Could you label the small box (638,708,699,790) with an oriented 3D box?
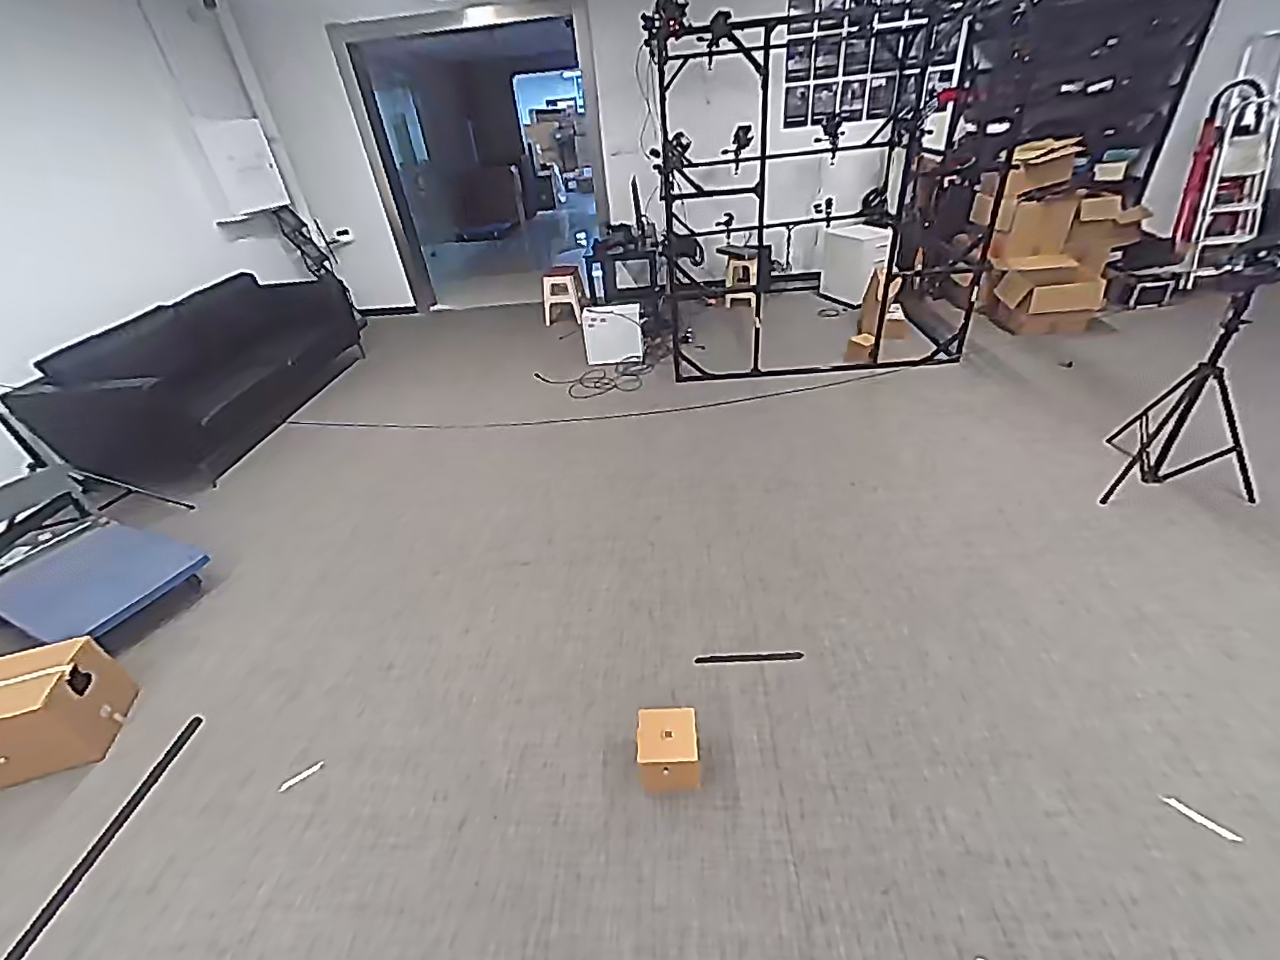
[{"bbox_3d":[0.089,0.818,1.644,0.179,0.176,0.168,-5,35,4],"label":"small box"}]
